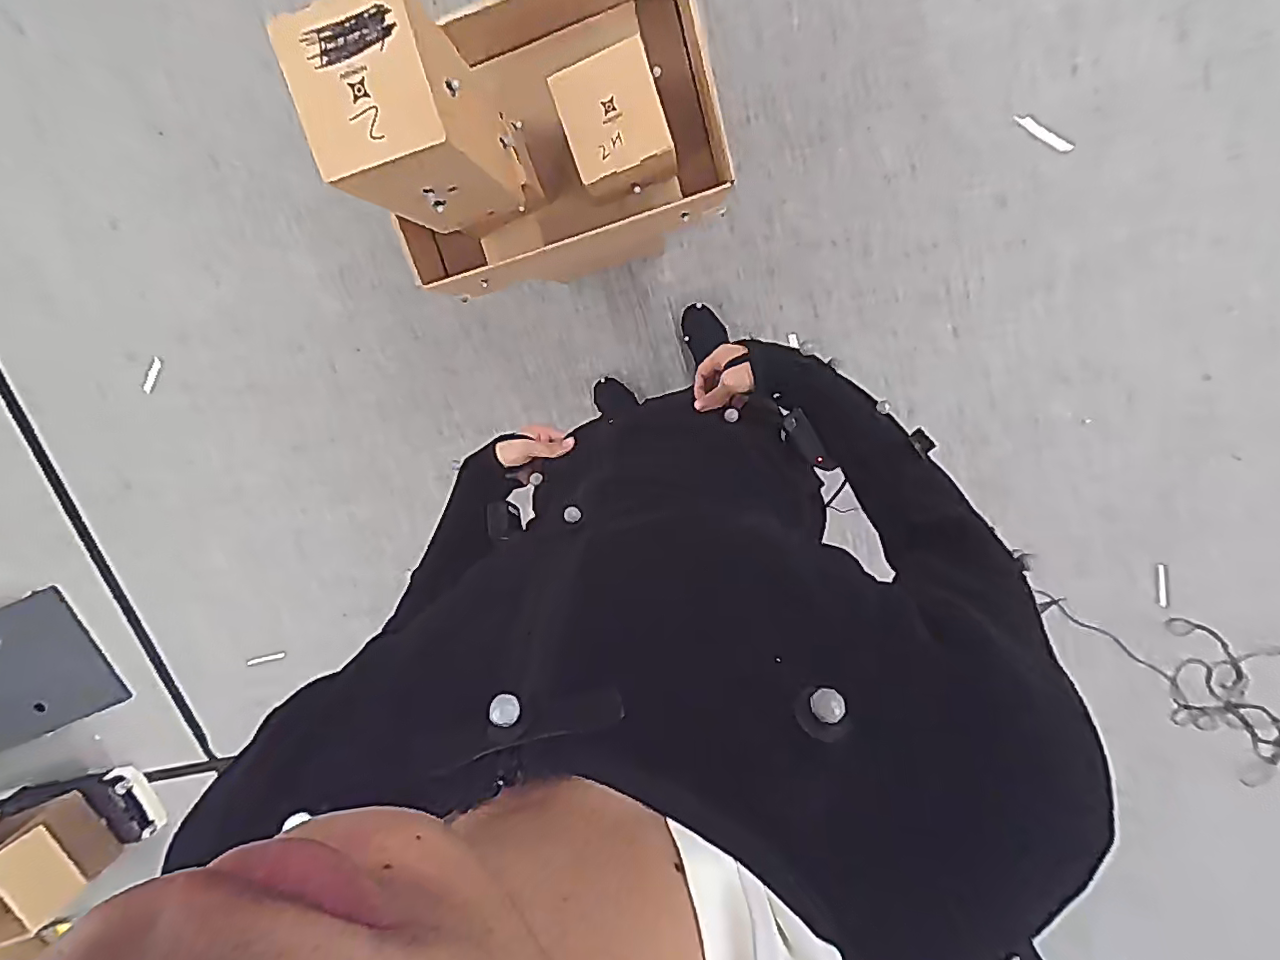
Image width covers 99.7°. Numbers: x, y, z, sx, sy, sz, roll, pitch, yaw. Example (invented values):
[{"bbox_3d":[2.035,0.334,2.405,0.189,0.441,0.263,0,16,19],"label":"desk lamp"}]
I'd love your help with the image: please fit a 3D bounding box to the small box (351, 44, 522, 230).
[{"bbox_3d":[-0.306,-0.522,0.852,0.168,0.176,0.179,-14,102,9],"label":"small box"}]
